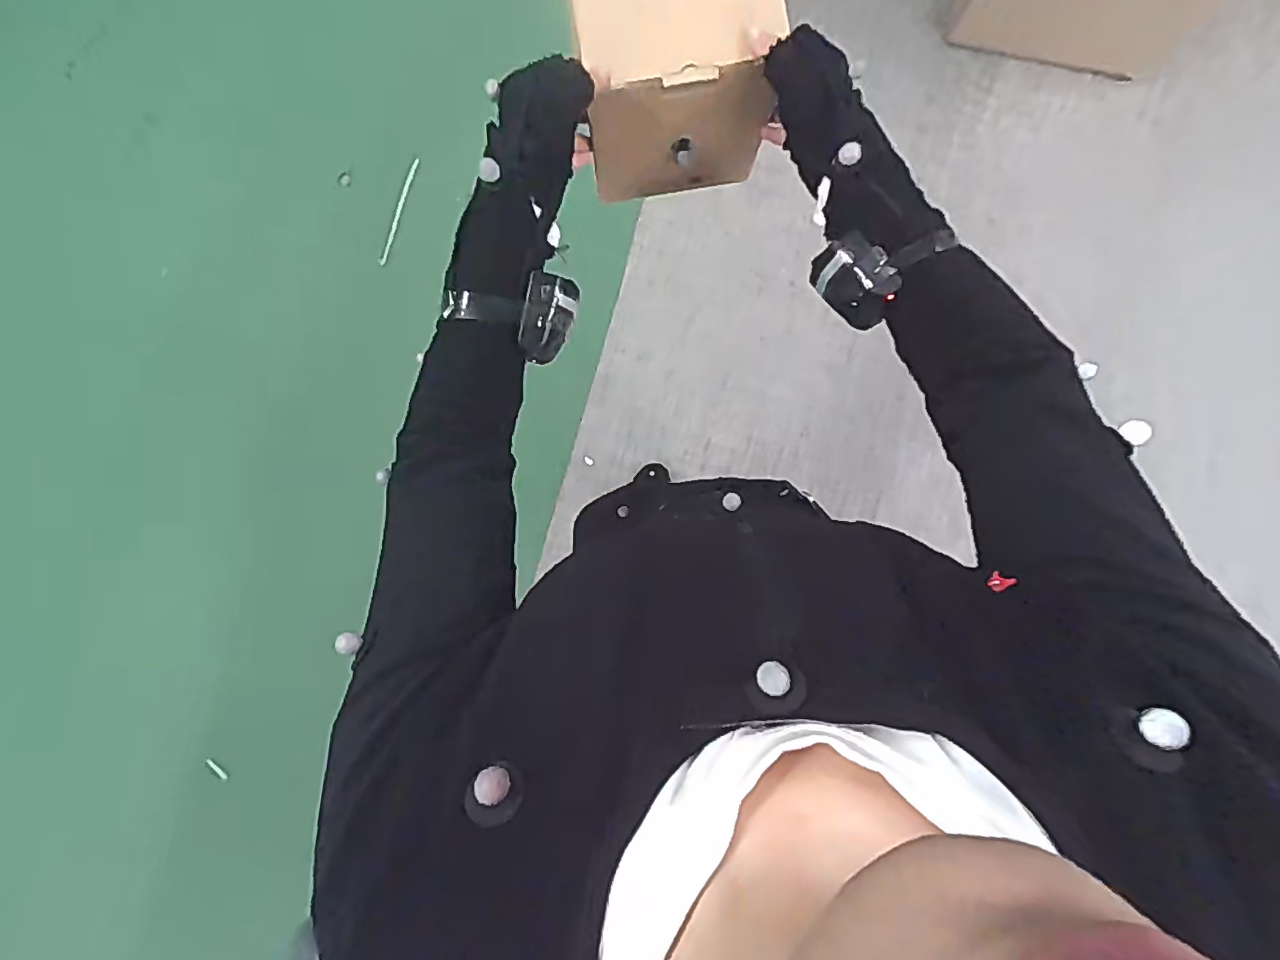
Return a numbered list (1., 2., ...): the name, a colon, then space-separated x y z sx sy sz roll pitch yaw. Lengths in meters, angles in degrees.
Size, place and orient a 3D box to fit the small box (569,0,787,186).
1. small box: 0.024 -0.398 0.500 0.168 0.176 0.179 -8 90 -2
